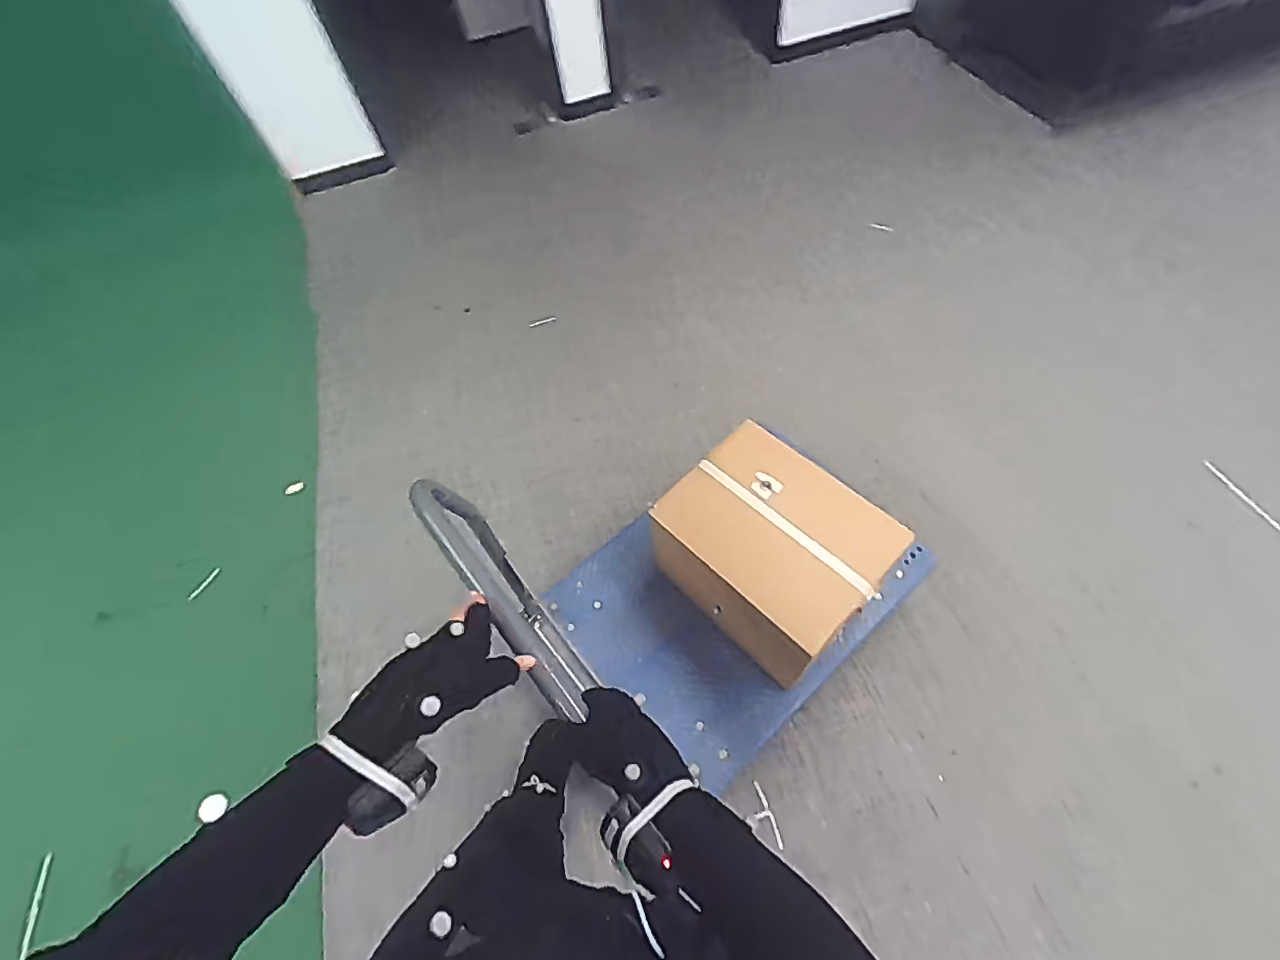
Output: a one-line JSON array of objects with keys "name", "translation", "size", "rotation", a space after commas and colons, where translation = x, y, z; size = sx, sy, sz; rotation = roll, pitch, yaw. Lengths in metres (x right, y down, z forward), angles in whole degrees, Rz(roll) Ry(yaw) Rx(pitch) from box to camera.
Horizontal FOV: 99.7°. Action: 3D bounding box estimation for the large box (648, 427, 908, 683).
[{"name": "large box", "translation": [0.280, 0.165, 1.178], "size": [0.320, 0.320, 0.408], "rotation": [-42, 62, -18]}]
